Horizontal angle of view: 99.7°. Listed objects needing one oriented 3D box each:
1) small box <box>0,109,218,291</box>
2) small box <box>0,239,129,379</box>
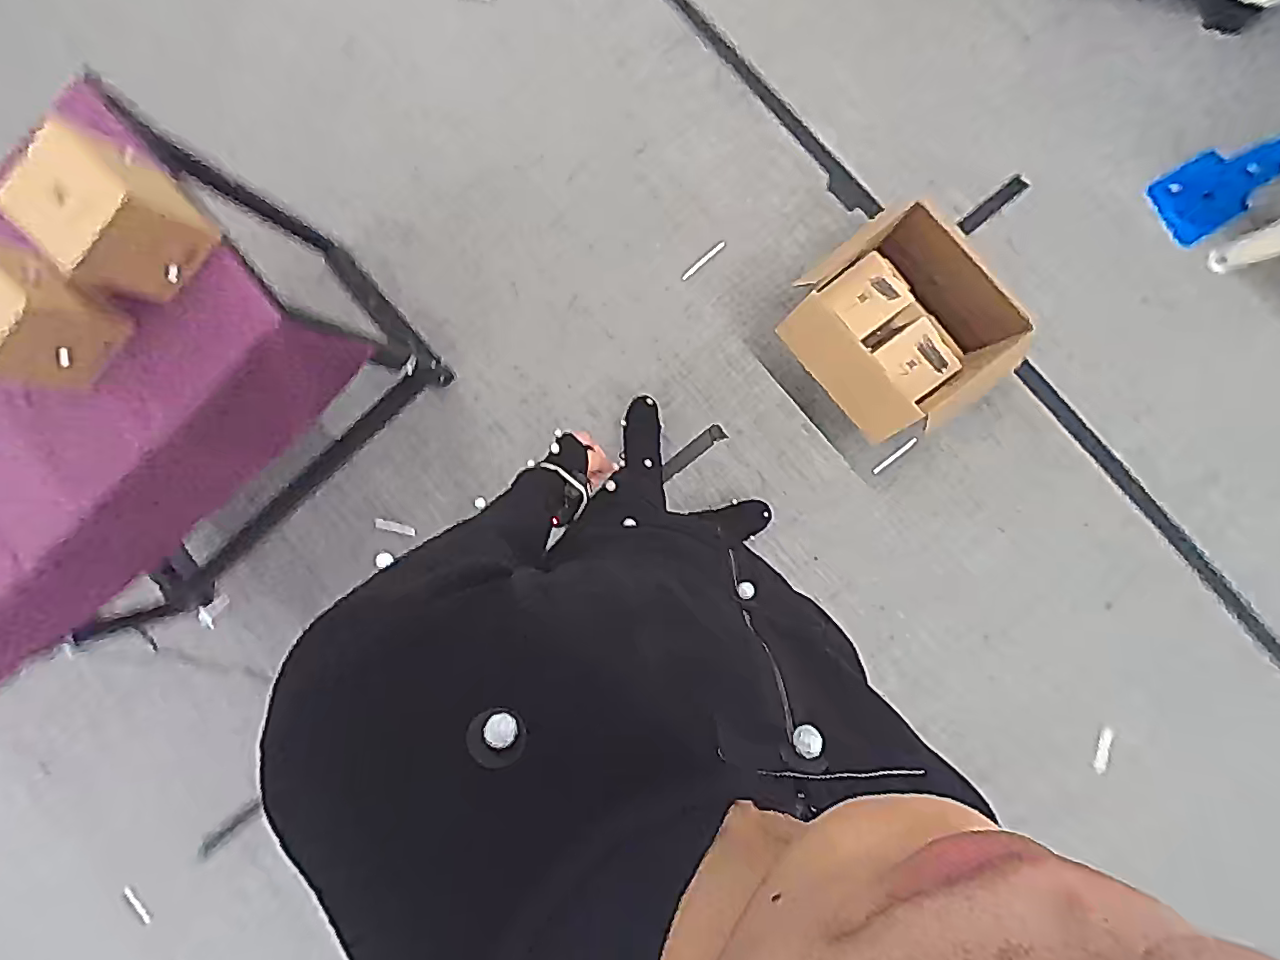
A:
[{"bbox_3d":[-0.871,-0.447,0.898,0.168,0.176,0.179,-45,87,8],"label":"small box"},{"bbox_3d":[-1.050,-0.290,0.922,0.179,0.176,0.168,44,96,3],"label":"small box"}]
